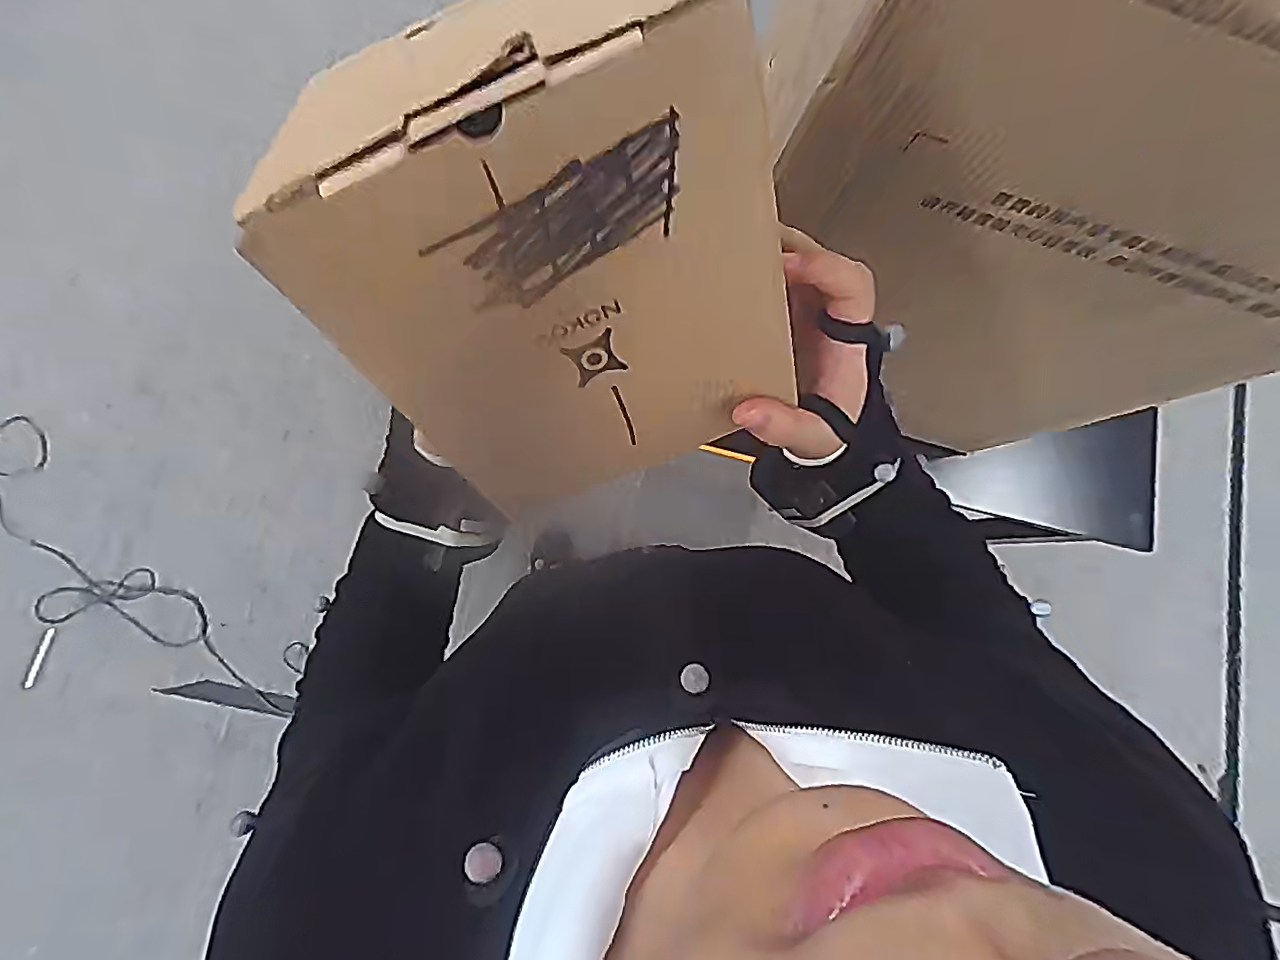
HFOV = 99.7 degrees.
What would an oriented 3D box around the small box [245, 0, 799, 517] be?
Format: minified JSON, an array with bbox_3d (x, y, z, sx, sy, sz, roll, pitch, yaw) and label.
[{"bbox_3d":[-0.040,-0.119,0.270,0.168,0.179,0.176,-23,49,5],"label":"small box"}]
